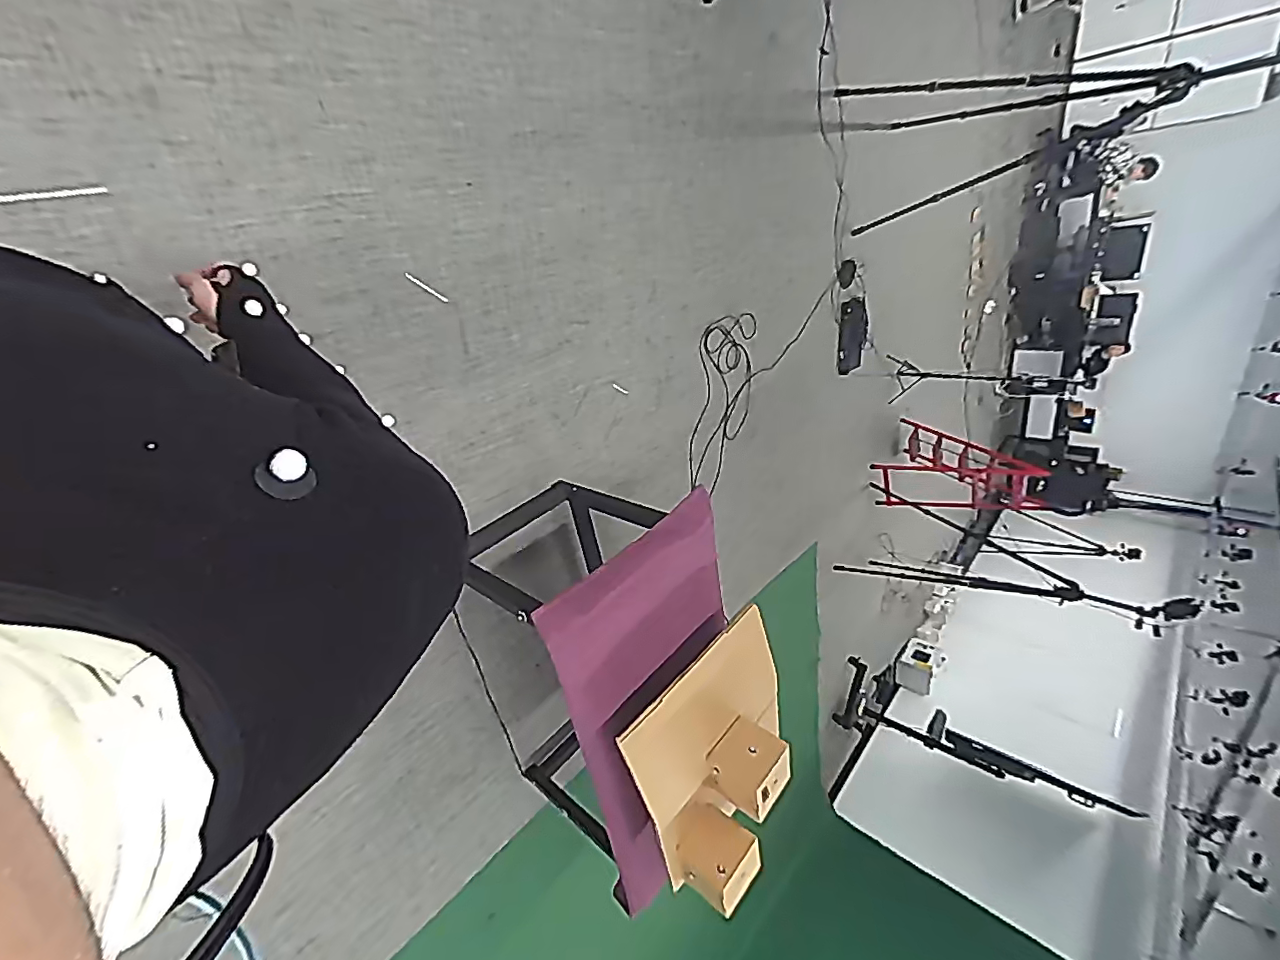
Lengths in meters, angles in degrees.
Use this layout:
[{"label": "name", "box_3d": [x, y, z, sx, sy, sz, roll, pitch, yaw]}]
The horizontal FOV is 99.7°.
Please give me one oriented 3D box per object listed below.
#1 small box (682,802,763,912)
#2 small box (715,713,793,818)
[{"label": "small box", "box_3d": [0.246, 1.107, 1.604, 0.179, 0.176, 0.168, -34, 127, -35]}, {"label": "small box", "box_3d": [0.335, 0.841, 1.606, 0.179, 0.176, 0.168, -36, 128, -36]}]
